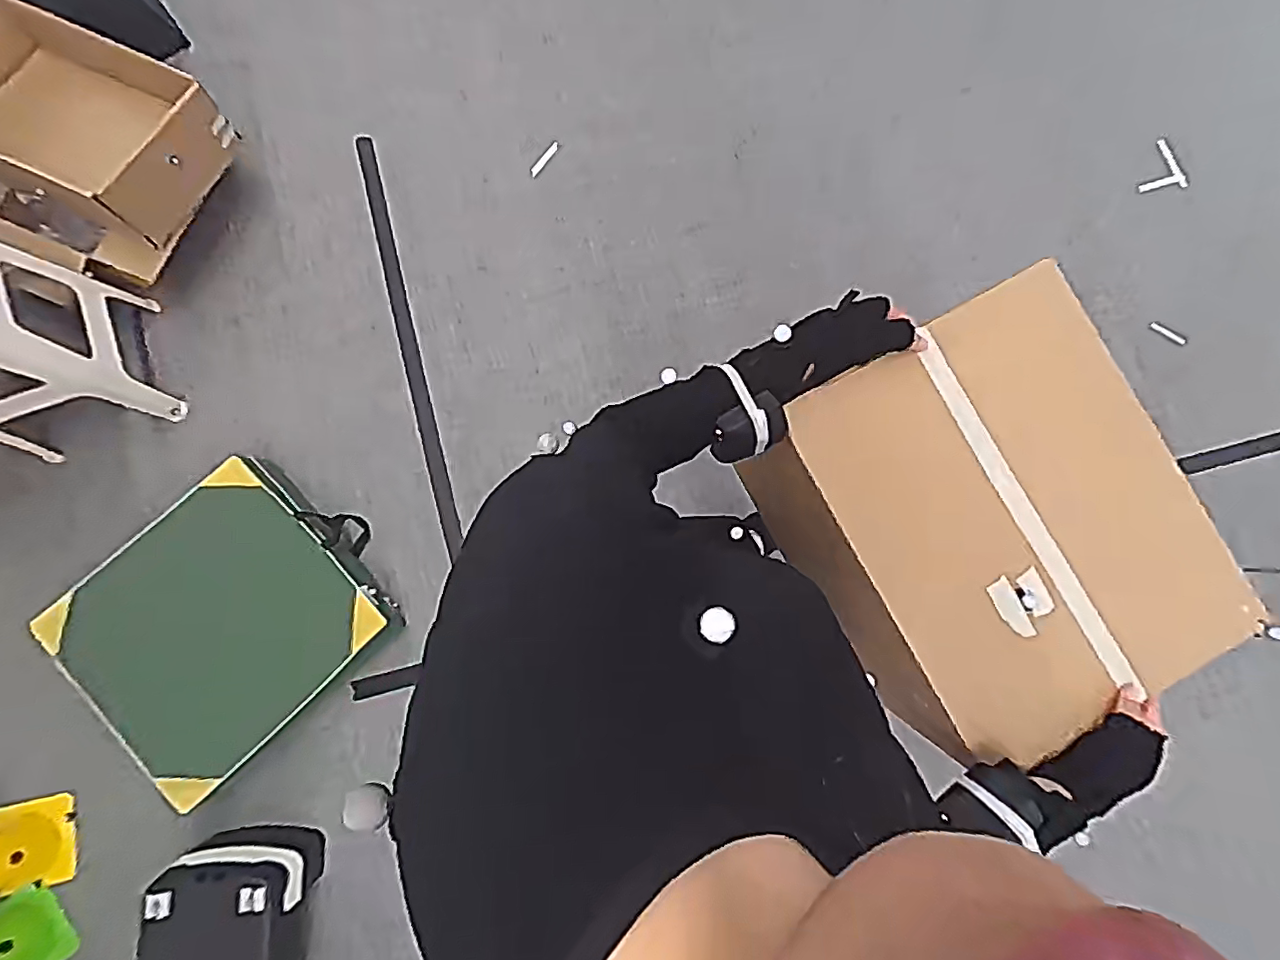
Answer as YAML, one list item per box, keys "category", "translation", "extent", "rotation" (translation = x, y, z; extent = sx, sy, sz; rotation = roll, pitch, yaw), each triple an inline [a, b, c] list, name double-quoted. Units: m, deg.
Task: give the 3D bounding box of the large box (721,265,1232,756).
- category: "large box"
  translation: [0.352, 0.030, 0.681]
  extent: [0.320, 0.320, 0.408]
  rotation: [-29, 89, -2]
